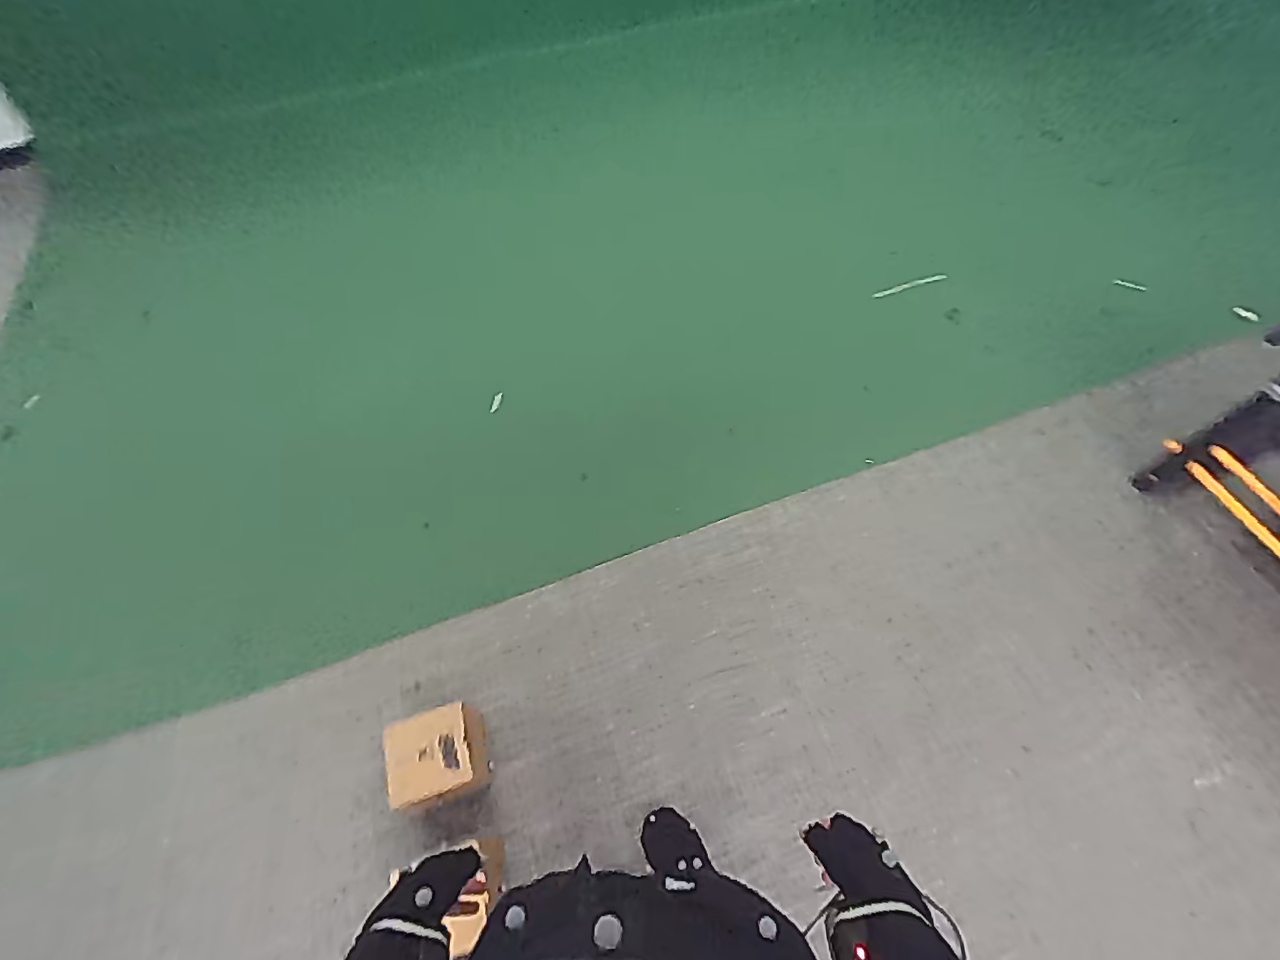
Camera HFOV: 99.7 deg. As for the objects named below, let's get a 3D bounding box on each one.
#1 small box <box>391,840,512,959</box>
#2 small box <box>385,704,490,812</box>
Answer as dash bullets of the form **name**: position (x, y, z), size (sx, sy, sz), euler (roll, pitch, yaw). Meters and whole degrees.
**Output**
- **small box**: position (-0.374, 0.849, 1.088), size (0.179, 0.176, 0.168), euler (-16, 59, -8)
- **small box**: position (-0.449, 0.628, 1.223), size (0.179, 0.176, 0.168), euler (-17, 60, -8)
